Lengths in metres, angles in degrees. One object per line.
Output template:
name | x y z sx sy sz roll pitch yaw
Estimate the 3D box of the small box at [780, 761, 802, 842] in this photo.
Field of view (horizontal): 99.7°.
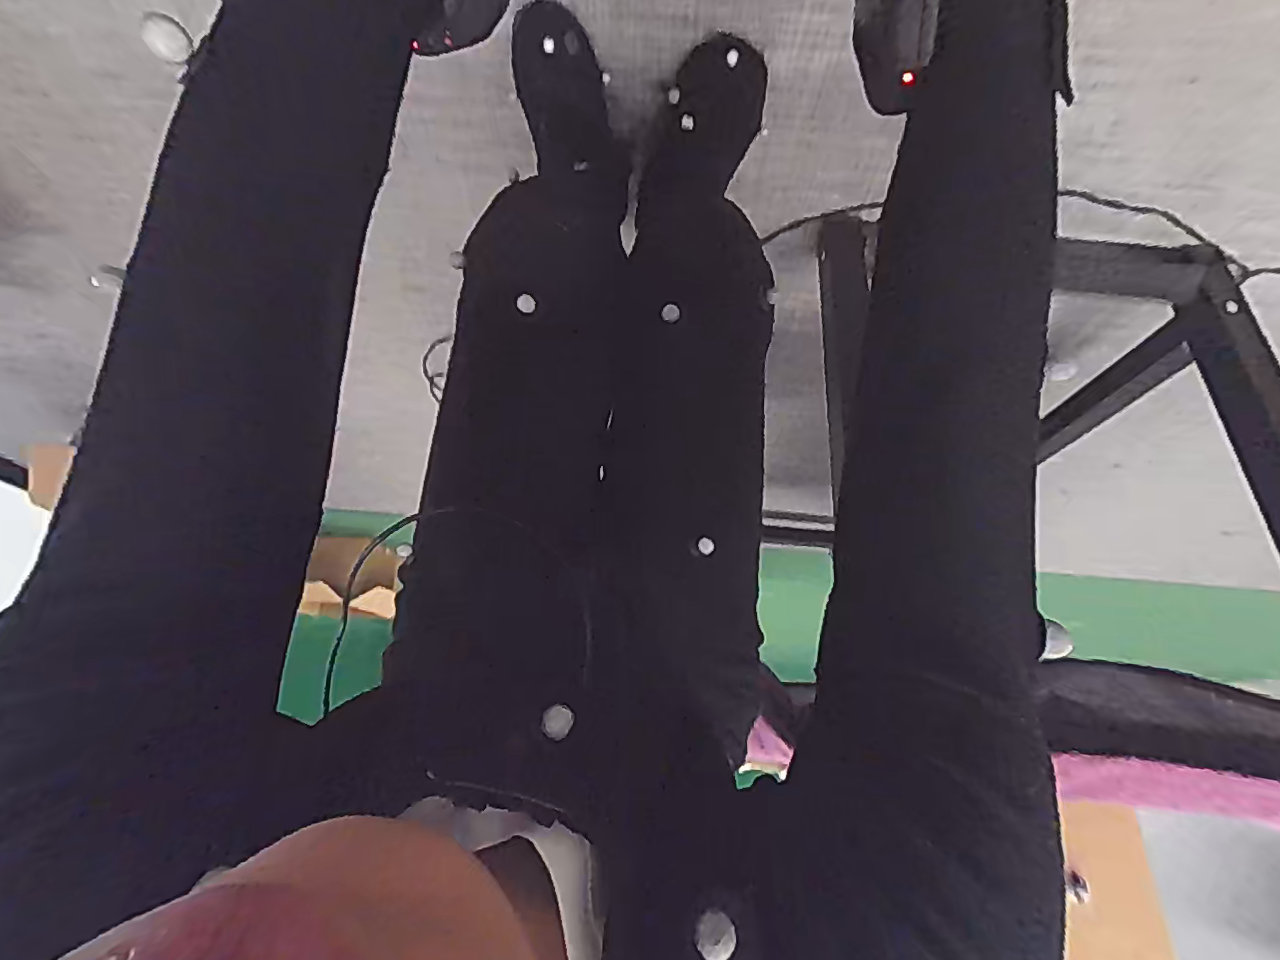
small box | 0.454 0.802 1.350 0.179 0.176 0.168 5 154 1
